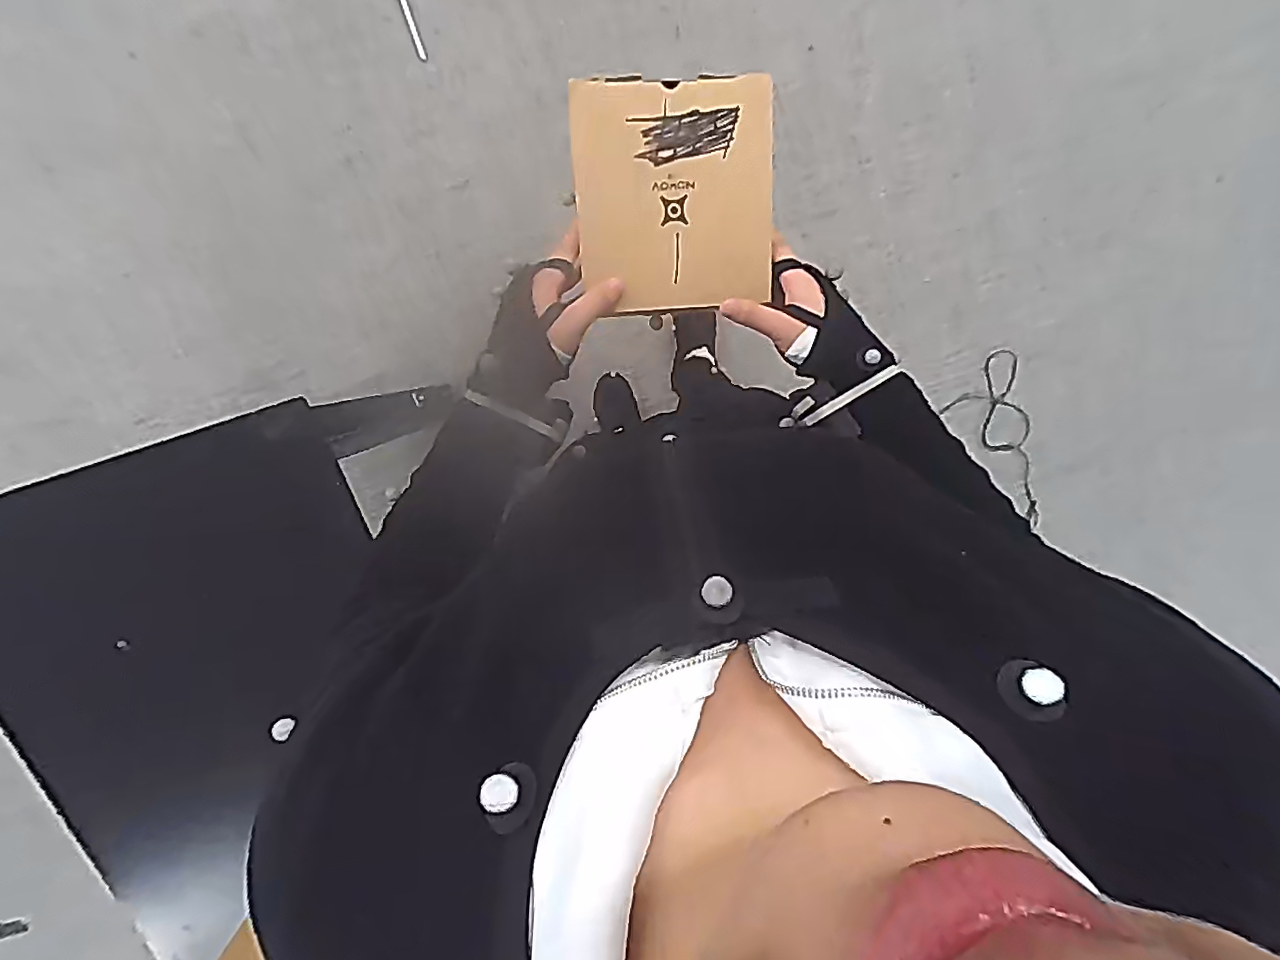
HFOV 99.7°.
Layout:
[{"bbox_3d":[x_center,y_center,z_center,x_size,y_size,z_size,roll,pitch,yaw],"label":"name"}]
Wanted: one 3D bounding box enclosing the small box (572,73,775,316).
[{"bbox_3d":[0.022,-0.255,0.523,0.168,0.176,0.179,-5,106,-5],"label":"small box"}]
